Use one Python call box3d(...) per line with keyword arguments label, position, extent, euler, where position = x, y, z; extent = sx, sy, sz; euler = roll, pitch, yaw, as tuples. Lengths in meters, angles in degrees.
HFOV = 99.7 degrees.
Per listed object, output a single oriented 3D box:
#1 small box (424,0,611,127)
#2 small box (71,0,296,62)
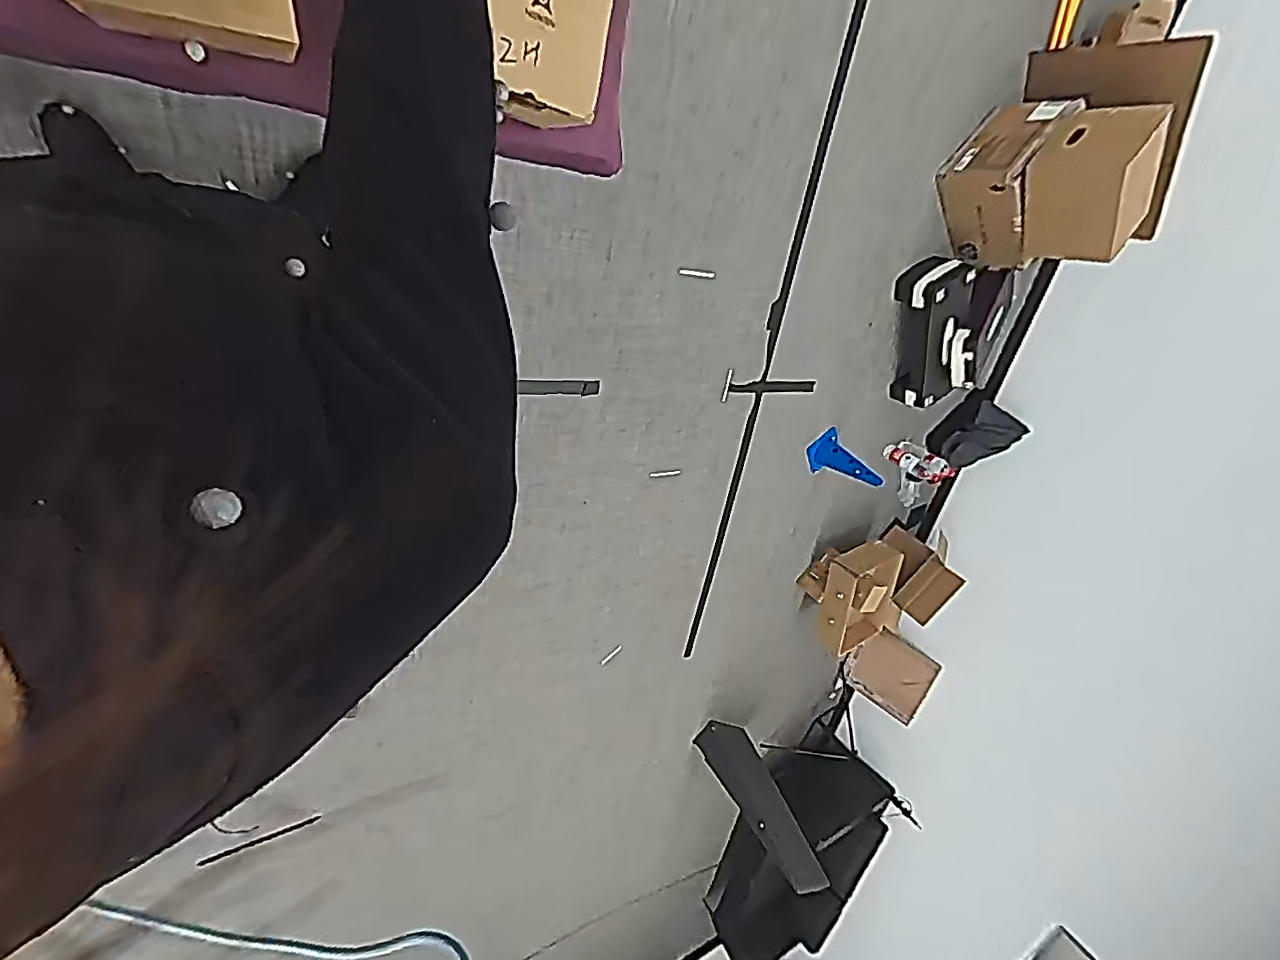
box3d(label="small box", position=(-0.150, -0.543, 0.638), extent=(0.168, 0.176, 0.179), euler=(-2, 118, -33))
box3d(label="small box", position=(-0.419, -0.501, 0.478), extent=(0.168, 0.176, 0.179), euler=(-10, 124, -29))
